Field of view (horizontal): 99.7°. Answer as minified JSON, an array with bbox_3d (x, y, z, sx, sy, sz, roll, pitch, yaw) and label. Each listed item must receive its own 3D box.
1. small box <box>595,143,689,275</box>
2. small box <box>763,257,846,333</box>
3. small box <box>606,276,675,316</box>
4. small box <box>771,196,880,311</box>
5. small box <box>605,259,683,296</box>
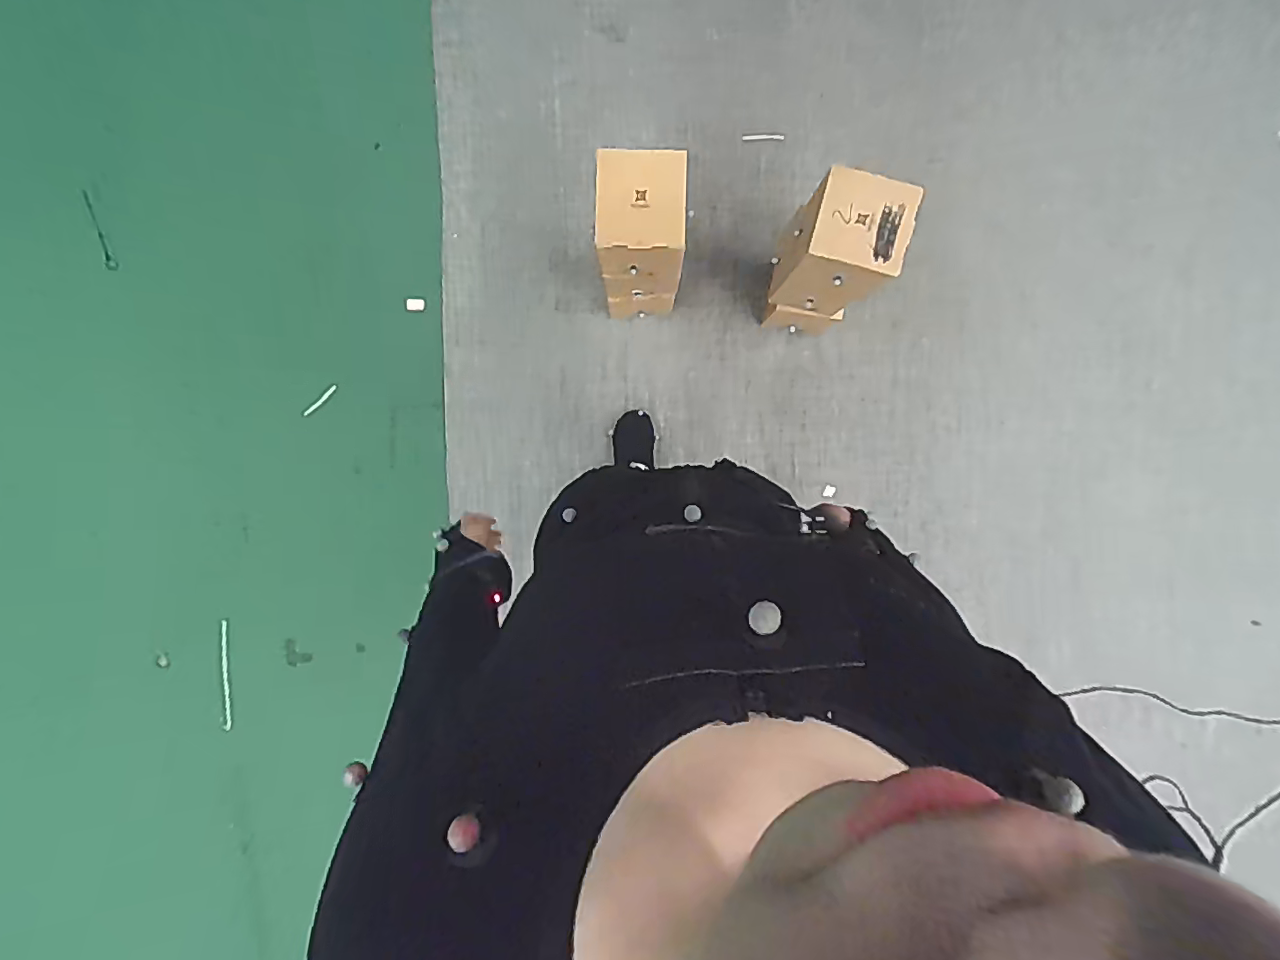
[{"bbox_3d":[0.003,-0.516,1.048,0.168,0.176,0.179,2,93,0],"label":"small box"},{"bbox_3d":[0.422,-0.491,1.377,0.168,0.176,0.179,9,93,0],"label":"small box"},{"bbox_3d":[-0.004,-0.531,1.372,0.168,0.176,0.179,-5,93,0],"label":"small box"},{"bbox_3d":[0.404,-0.495,1.212,0.168,0.176,0.179,13,94,-2],"label":"small box"},{"bbox_3d":[0.002,-0.528,1.210,0.168,0.176,0.179,-5,93,1],"label":"small box"}]
